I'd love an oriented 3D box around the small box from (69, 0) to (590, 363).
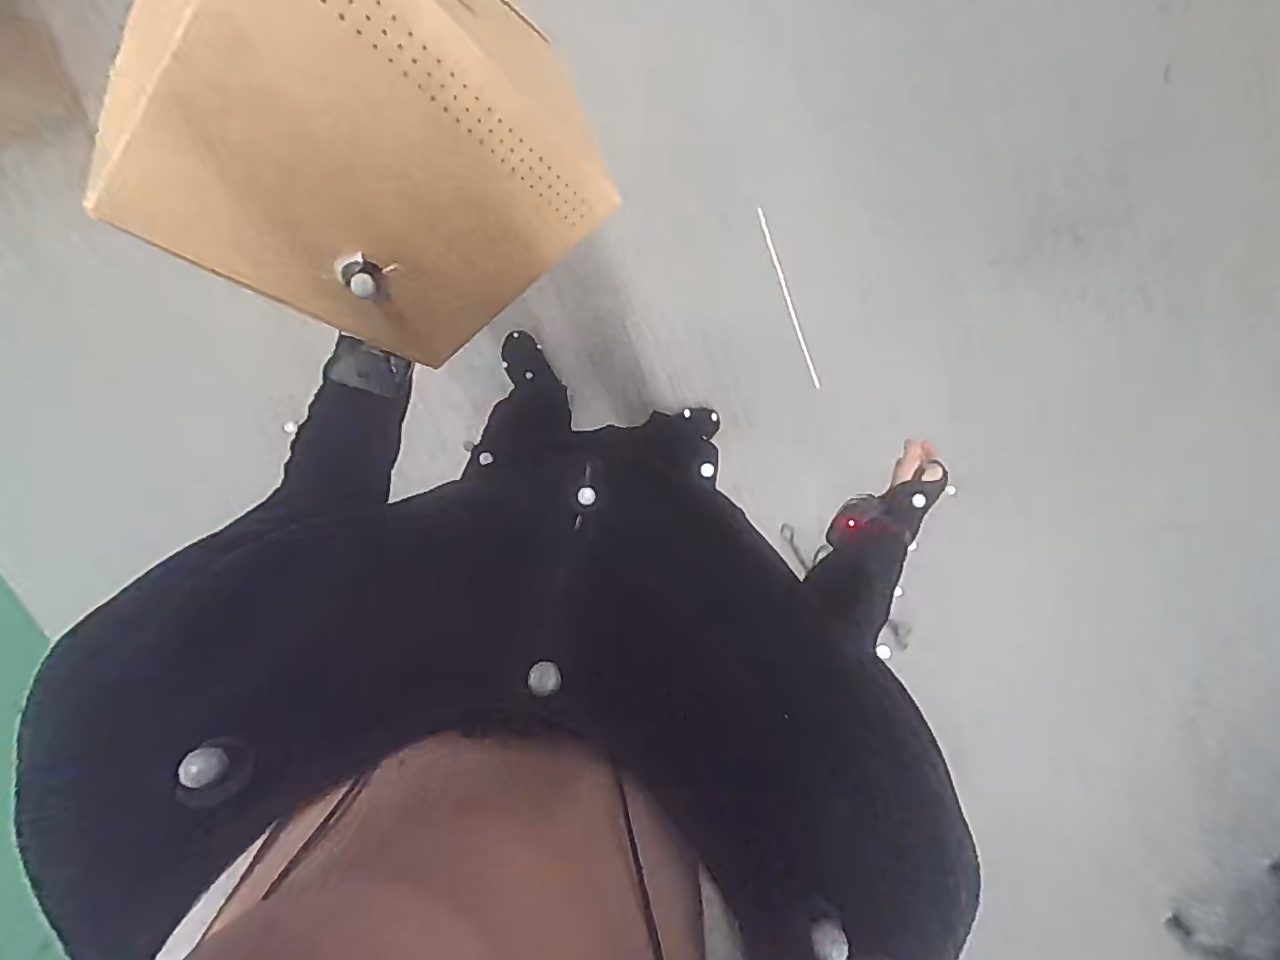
[{"bbox_3d":[-0.154,-0.202,0.294,0.176,0.179,0.168,-34,62,23],"label":"small box"}]
